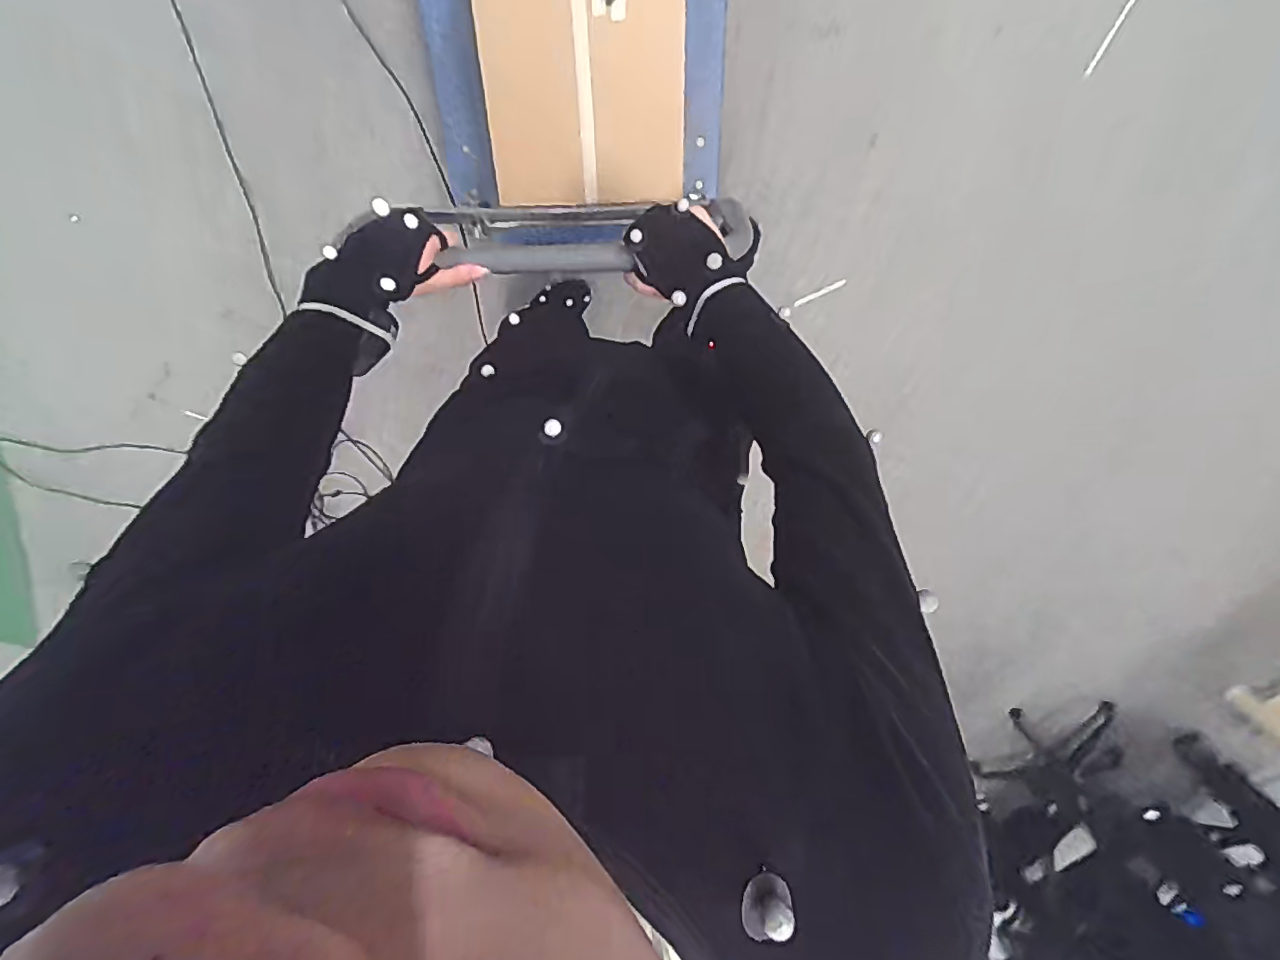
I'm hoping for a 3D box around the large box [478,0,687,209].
[{"bbox_3d":[-0.080,-0.722,0.967,0.320,0.320,0.408,-1,120,1],"label":"large box"}]
